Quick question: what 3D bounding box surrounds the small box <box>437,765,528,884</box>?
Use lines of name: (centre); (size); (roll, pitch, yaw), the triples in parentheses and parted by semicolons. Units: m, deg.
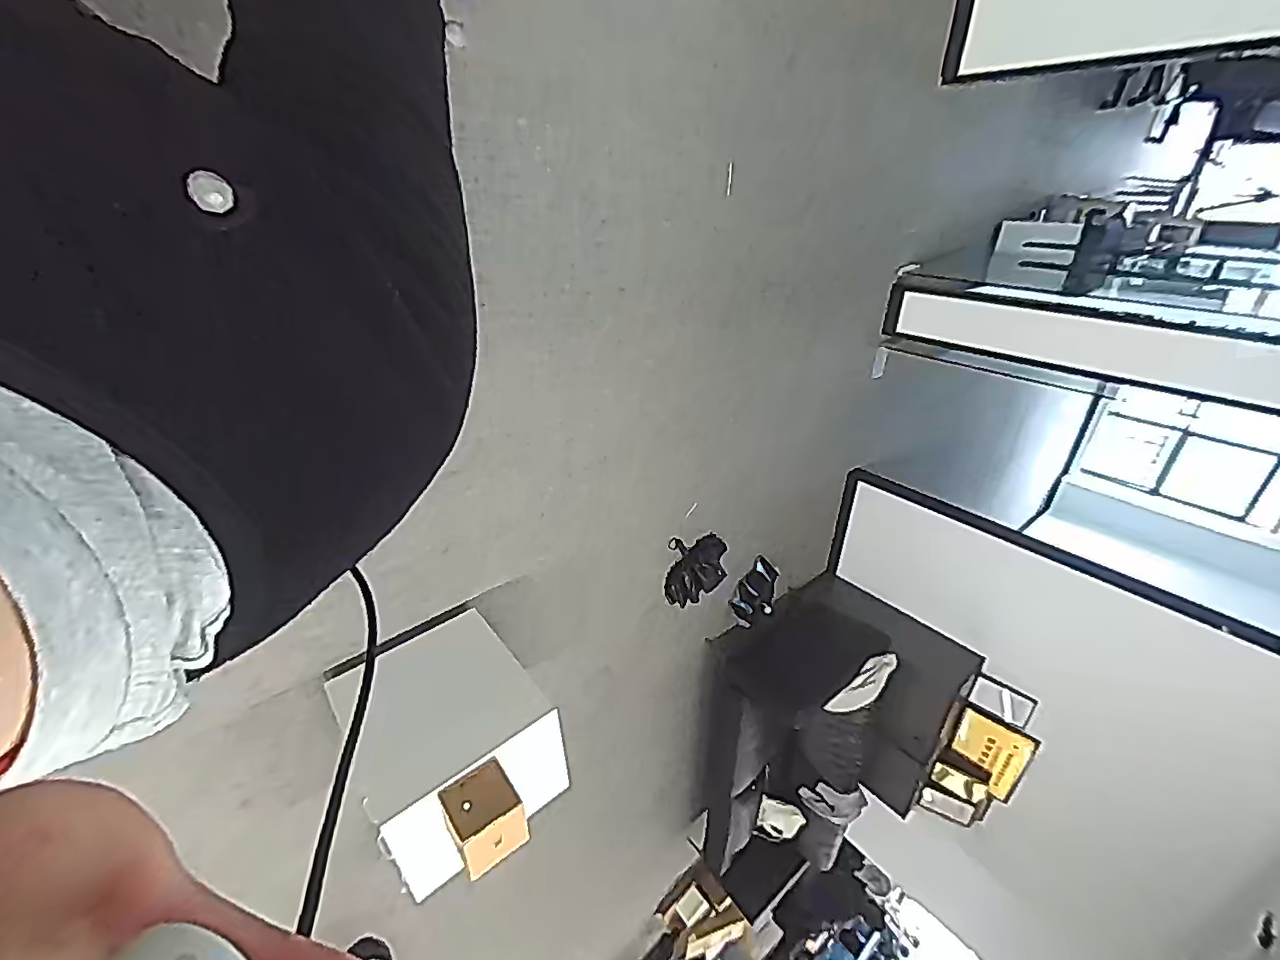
small box: (-0.413, 0.886, 1.413); (0.168, 0.176, 0.179); (-22, 128, -33)
